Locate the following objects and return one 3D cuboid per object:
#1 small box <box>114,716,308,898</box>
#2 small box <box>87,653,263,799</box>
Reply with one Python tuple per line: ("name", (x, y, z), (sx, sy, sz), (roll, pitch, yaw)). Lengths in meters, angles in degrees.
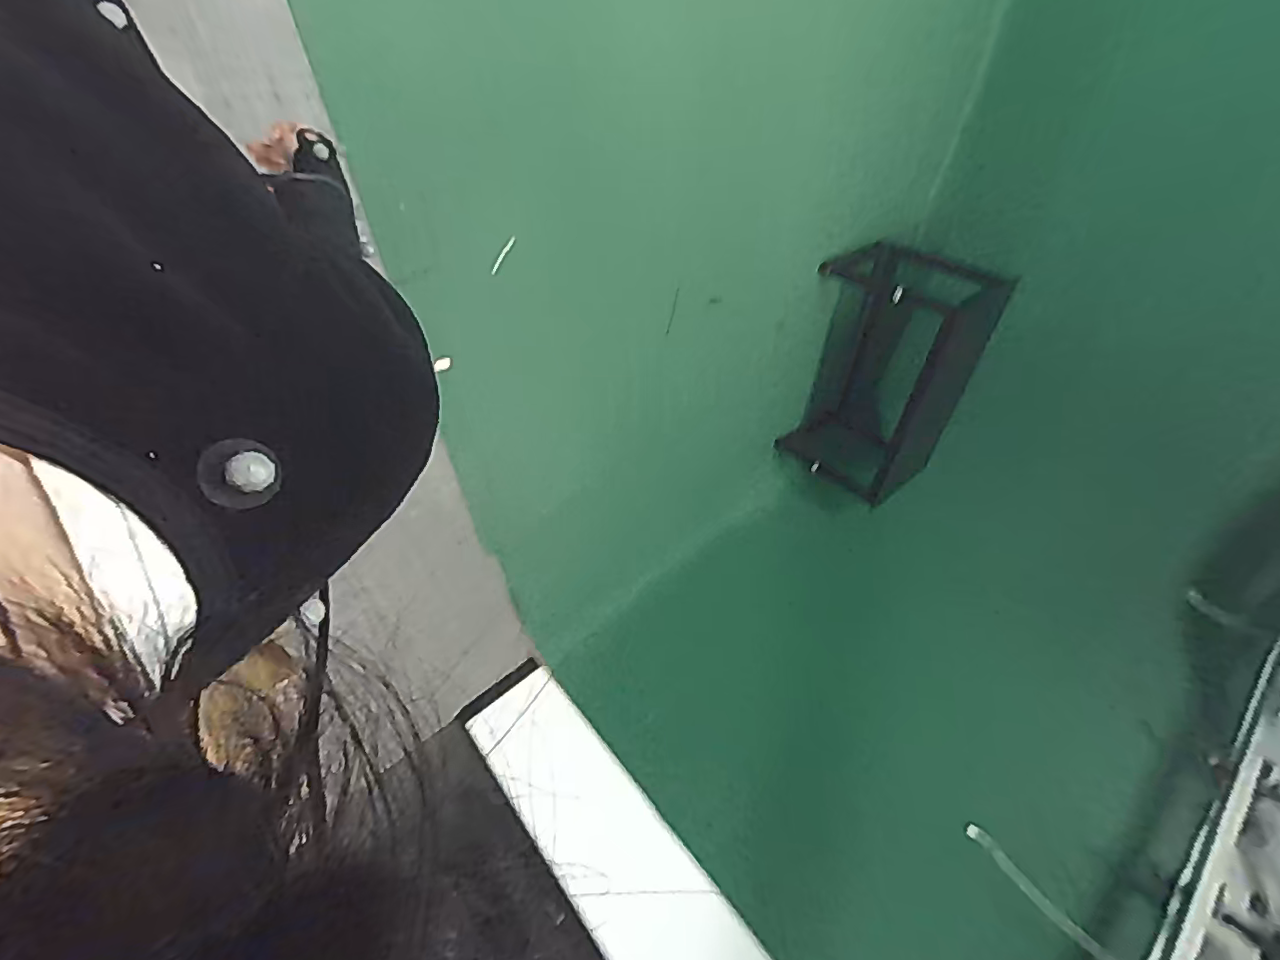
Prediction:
("small box", (-0.688, 0.504, 0.865), (0.179, 0.176, 0.168), (-51, 147, -4))
("small box", (-0.807, 0.435, 0.954), (0.168, 0.176, 0.179), (-43, 146, -16))
